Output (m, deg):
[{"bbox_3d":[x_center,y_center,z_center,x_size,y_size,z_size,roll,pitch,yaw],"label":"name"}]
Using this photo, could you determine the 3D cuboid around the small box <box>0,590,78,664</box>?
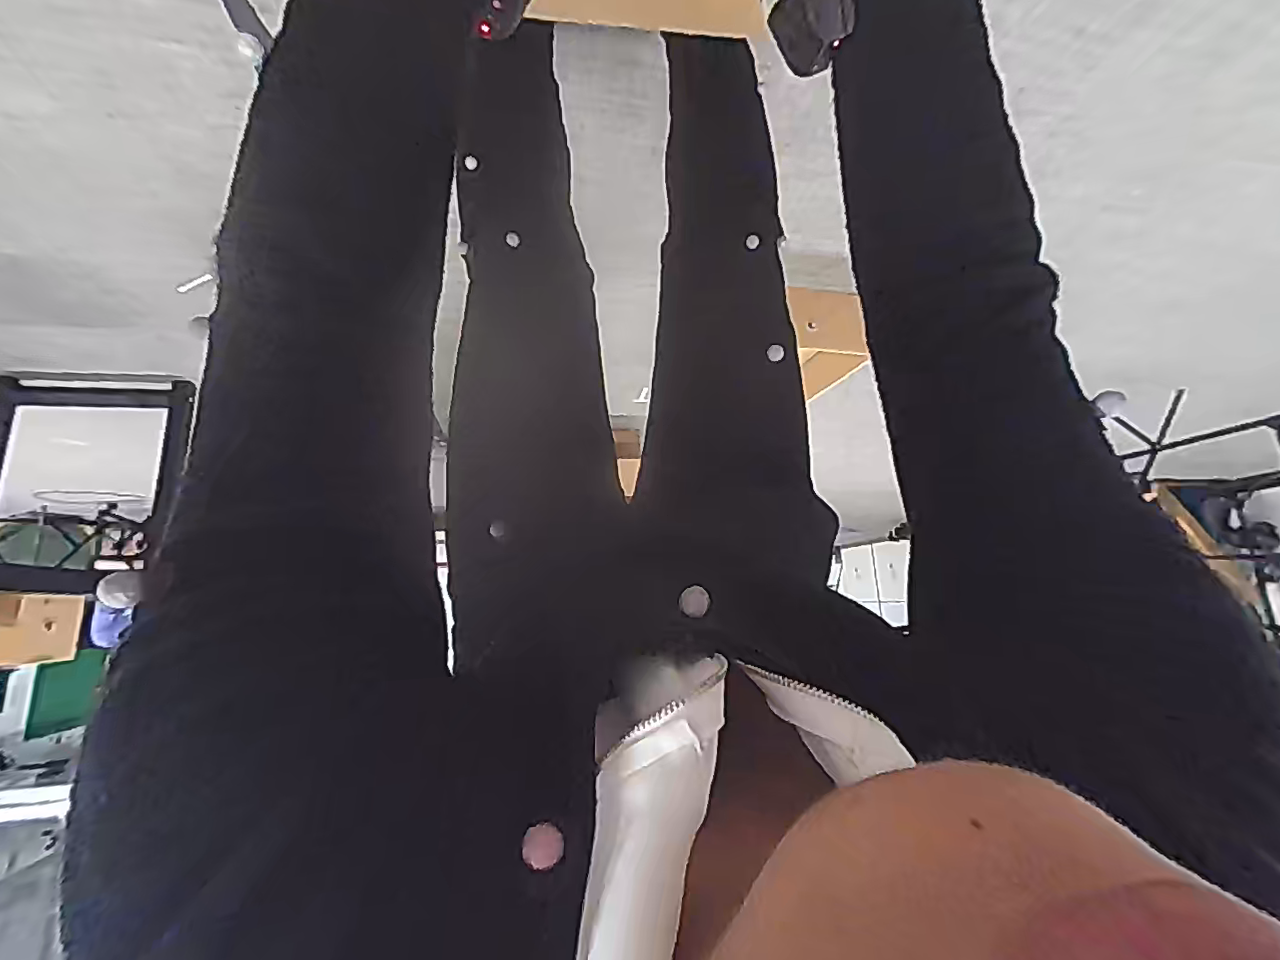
[{"bbox_3d":[-1.544,0.359,1.327,0.179,0.176,0.168,-2,167,-5],"label":"small box"}]
